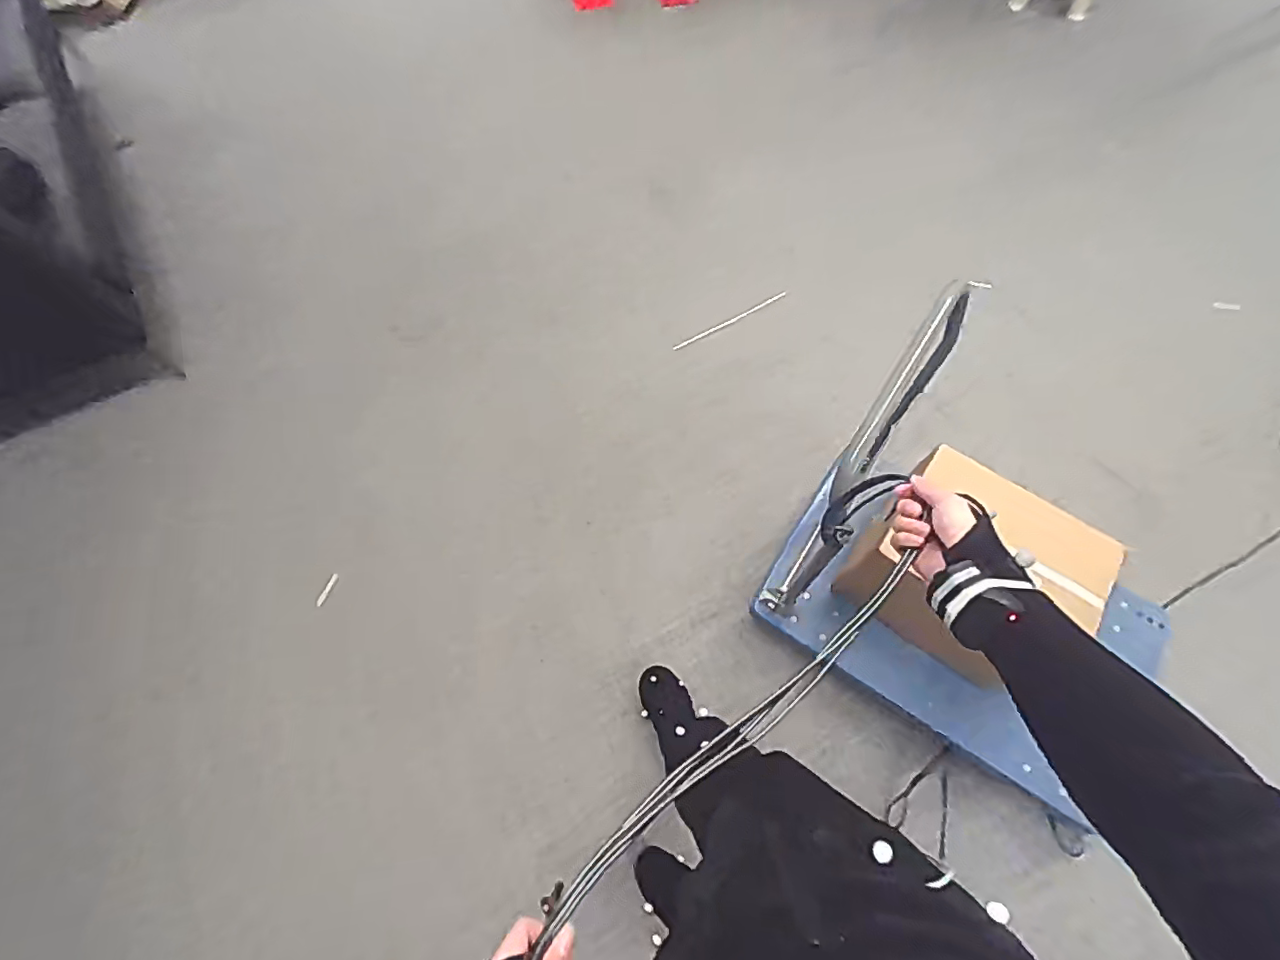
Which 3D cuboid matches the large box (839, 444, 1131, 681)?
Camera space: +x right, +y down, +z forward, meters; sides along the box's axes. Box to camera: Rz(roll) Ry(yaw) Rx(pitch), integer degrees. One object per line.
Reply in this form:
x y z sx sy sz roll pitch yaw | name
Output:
0.739 0.195 1.218 0.408 0.320 0.320 34 71 14 | large box
